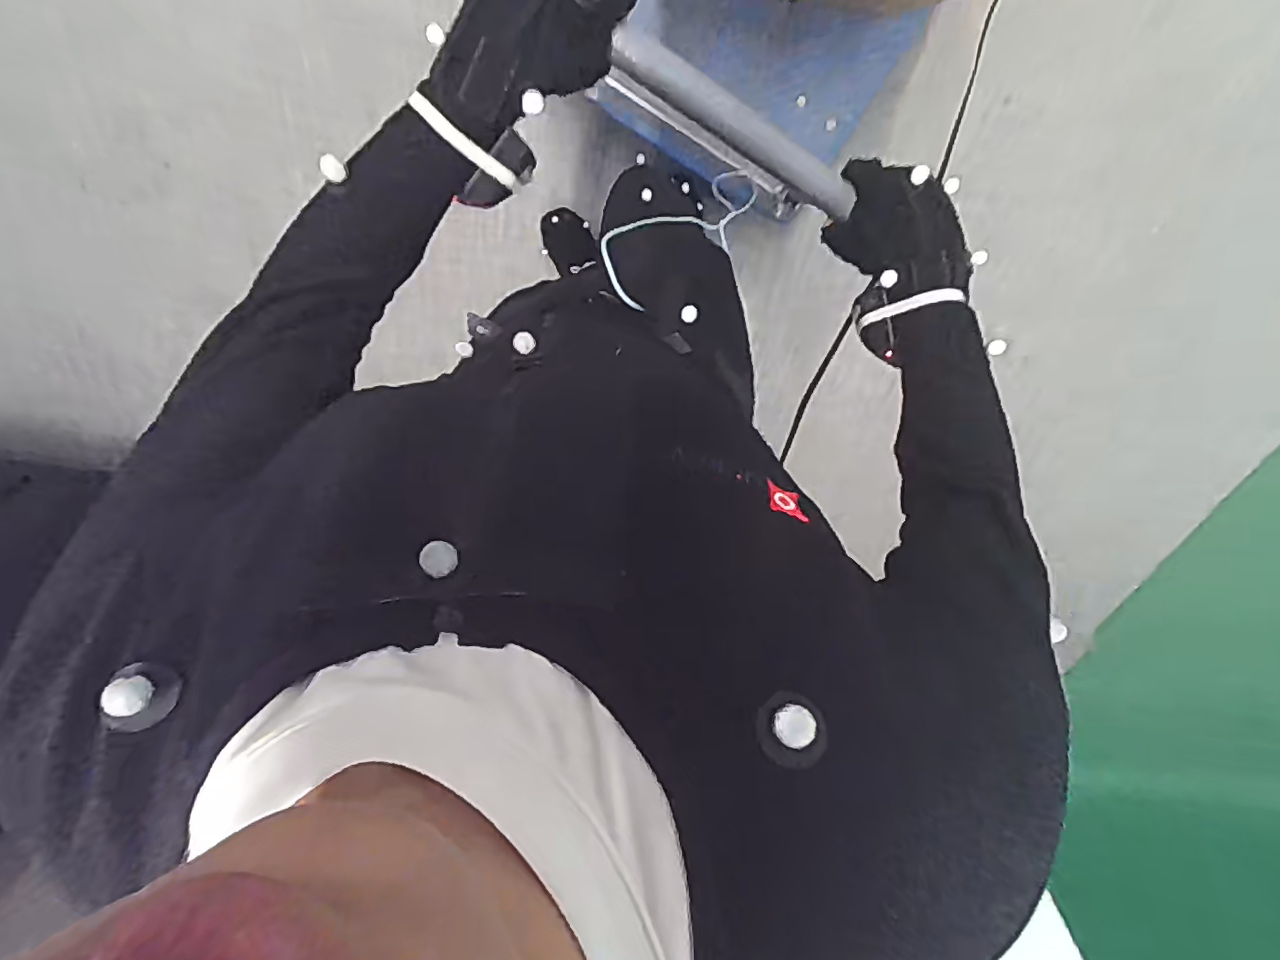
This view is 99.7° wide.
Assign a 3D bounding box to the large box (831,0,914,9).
[{"bbox_3d":[0.248,-0.847,0.691,0.408,0.320,0.320,8,124,-4],"label":"large box"}]
